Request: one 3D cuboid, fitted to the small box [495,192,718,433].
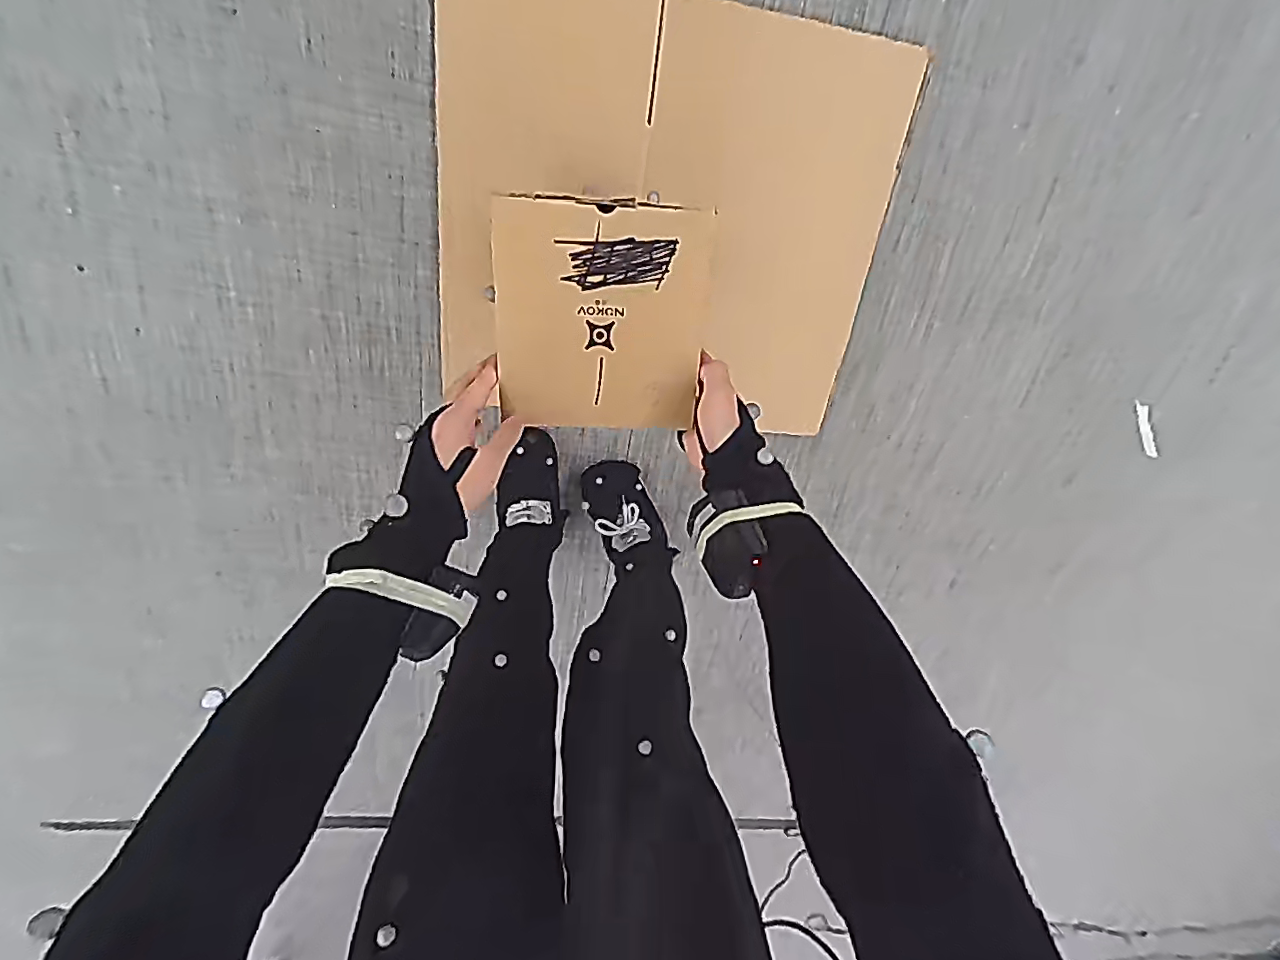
[{"bbox_3d":[-0.037,-0.155,0.494,0.168,0.176,0.179,1,117,-7],"label":"small box"}]
